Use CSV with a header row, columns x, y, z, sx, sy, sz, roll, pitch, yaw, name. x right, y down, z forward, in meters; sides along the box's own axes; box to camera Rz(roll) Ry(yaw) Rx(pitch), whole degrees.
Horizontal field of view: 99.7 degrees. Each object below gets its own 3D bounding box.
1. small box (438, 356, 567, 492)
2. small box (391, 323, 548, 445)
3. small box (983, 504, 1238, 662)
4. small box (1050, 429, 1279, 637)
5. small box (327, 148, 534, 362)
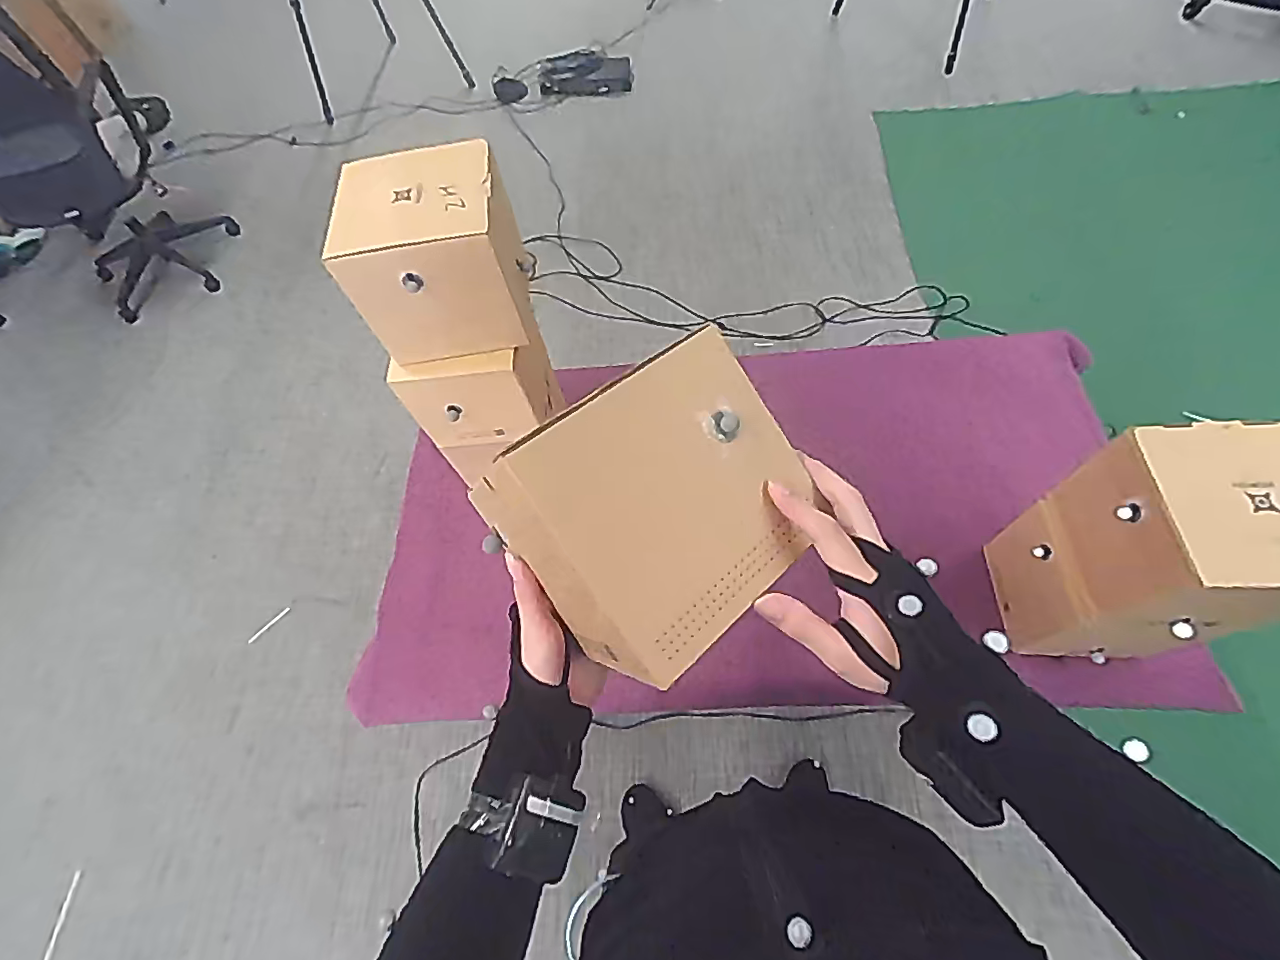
x,y,z,sx,sy,sz,roll,pitch,yaw,name
-0.226,-0.092,0.937,0.179,0.176,0.168,-6,62,3,small box
-0.234,-0.163,0.792,0.168,0.176,0.179,-5,61,3,small box
0.607,0.144,0.729,0.179,0.176,0.168,1,61,6,small box
0.595,0.062,0.589,0.168,0.176,0.179,0,62,8,small box
-0.238,-0.263,0.659,0.179,0.176,0.168,-8,62,1,small box
